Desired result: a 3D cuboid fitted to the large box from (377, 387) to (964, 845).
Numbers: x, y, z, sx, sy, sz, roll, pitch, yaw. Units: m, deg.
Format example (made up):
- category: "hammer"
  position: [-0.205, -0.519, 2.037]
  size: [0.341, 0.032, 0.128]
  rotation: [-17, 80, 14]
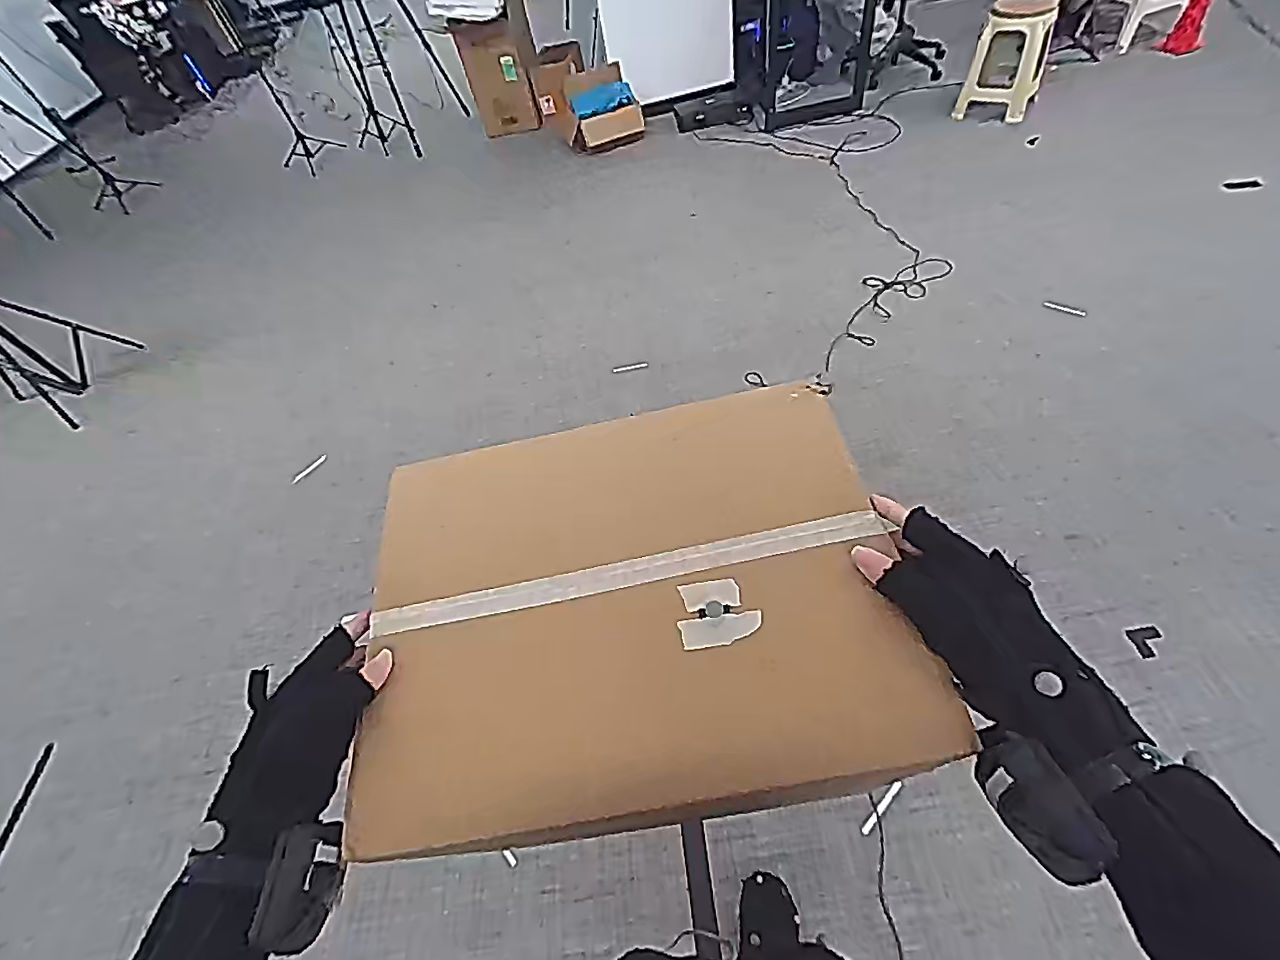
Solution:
- category: "large box"
  position: [0.016, 0.157, 0.557]
  size: [0.408, 0.320, 0.320]
  rotation: [-12, 57, 3]
